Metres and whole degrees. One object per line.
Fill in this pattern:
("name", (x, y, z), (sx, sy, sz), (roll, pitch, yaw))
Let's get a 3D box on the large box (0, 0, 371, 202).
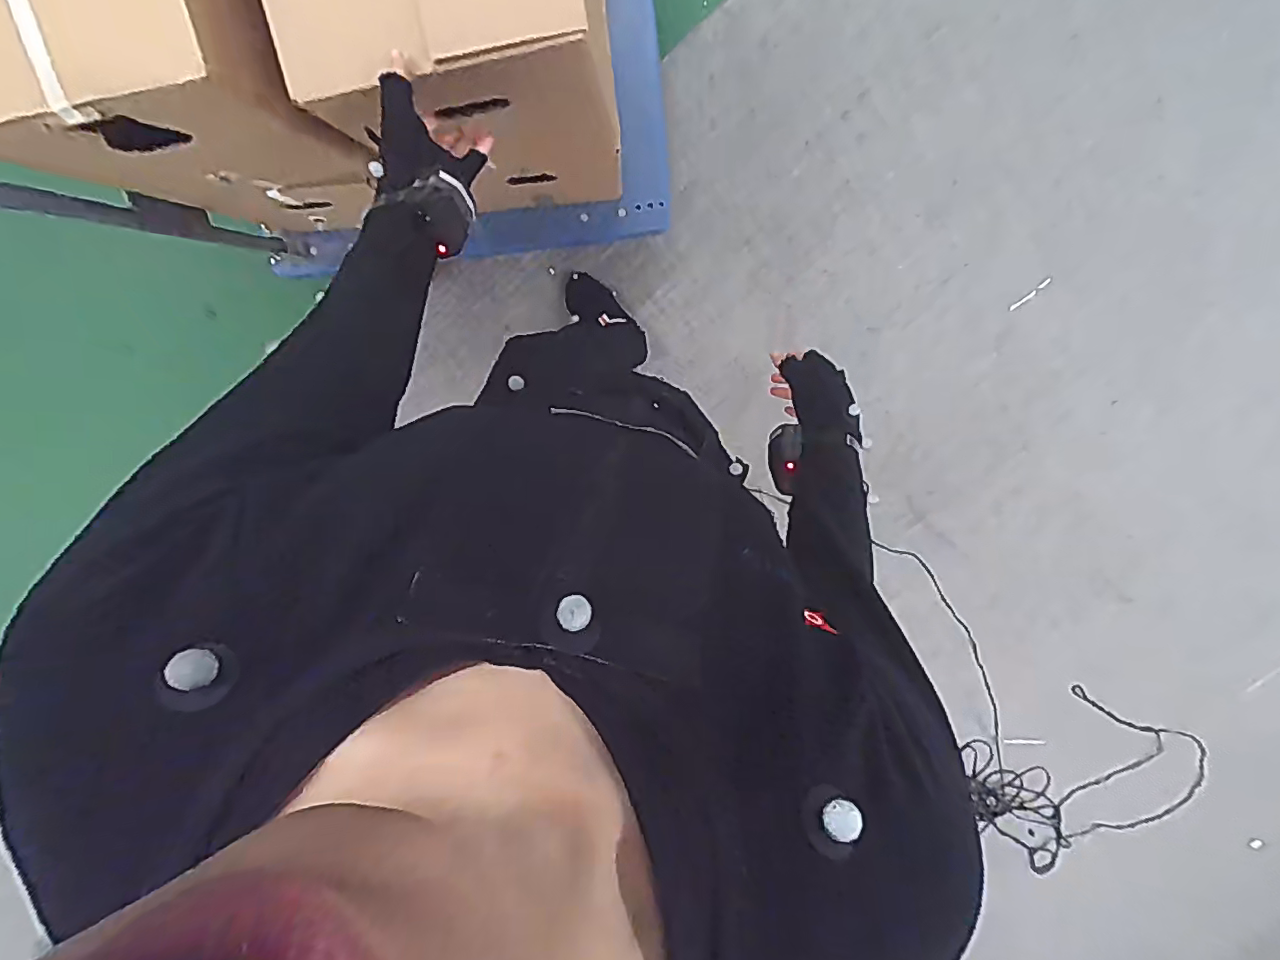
("large box", (-0.583, -0.594, 0.622), (0.320, 0.320, 0.408), (-8, 105, 5))
